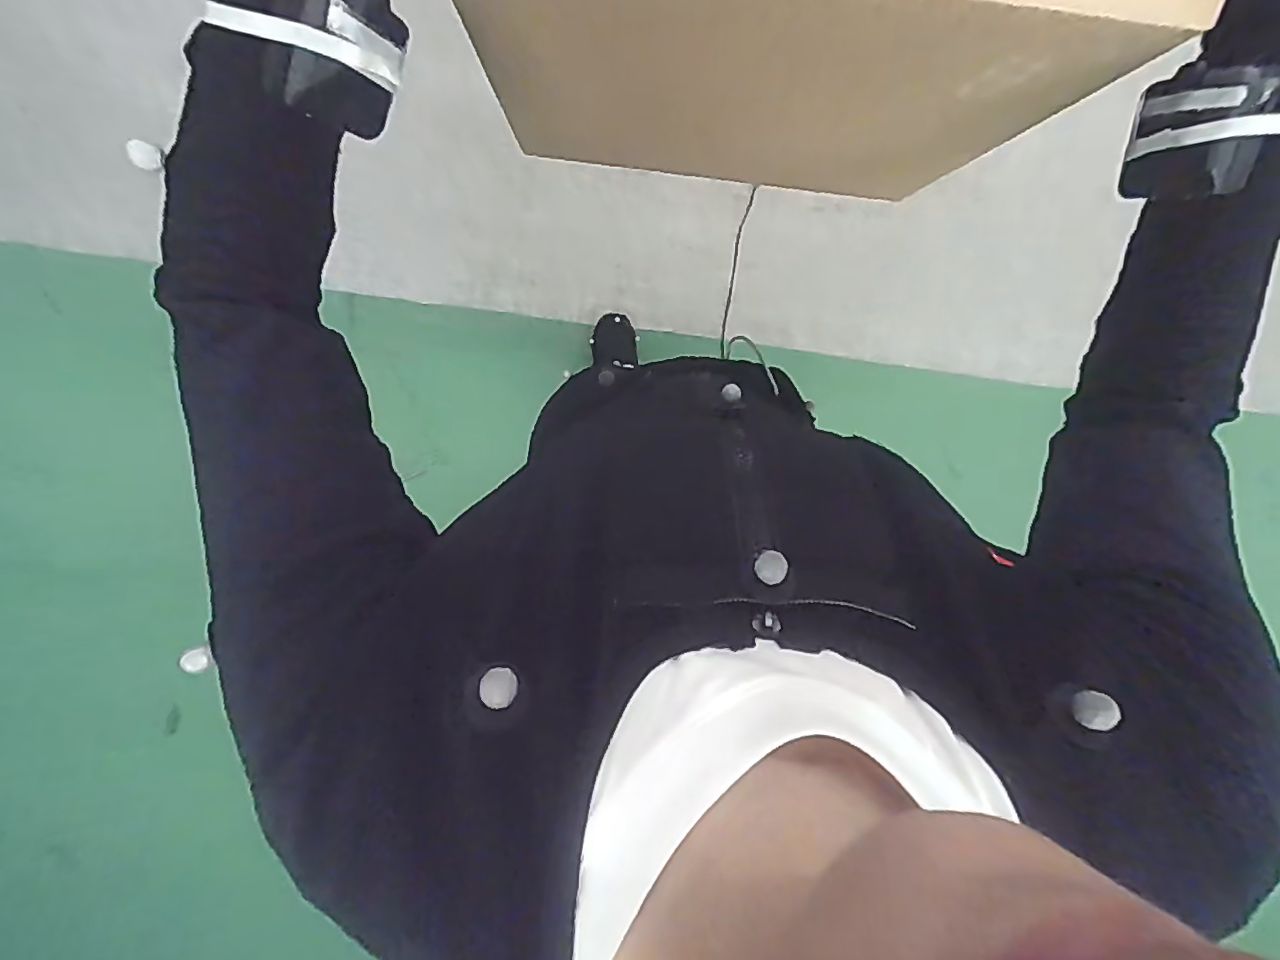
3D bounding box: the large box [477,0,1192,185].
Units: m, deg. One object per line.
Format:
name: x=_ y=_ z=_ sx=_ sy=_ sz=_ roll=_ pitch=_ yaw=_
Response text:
large box: x=0.100 y=-0.441 z=0.389 sx=0.408 sy=0.320 sz=0.320 roll=4 pitch=103 yaw=-5
